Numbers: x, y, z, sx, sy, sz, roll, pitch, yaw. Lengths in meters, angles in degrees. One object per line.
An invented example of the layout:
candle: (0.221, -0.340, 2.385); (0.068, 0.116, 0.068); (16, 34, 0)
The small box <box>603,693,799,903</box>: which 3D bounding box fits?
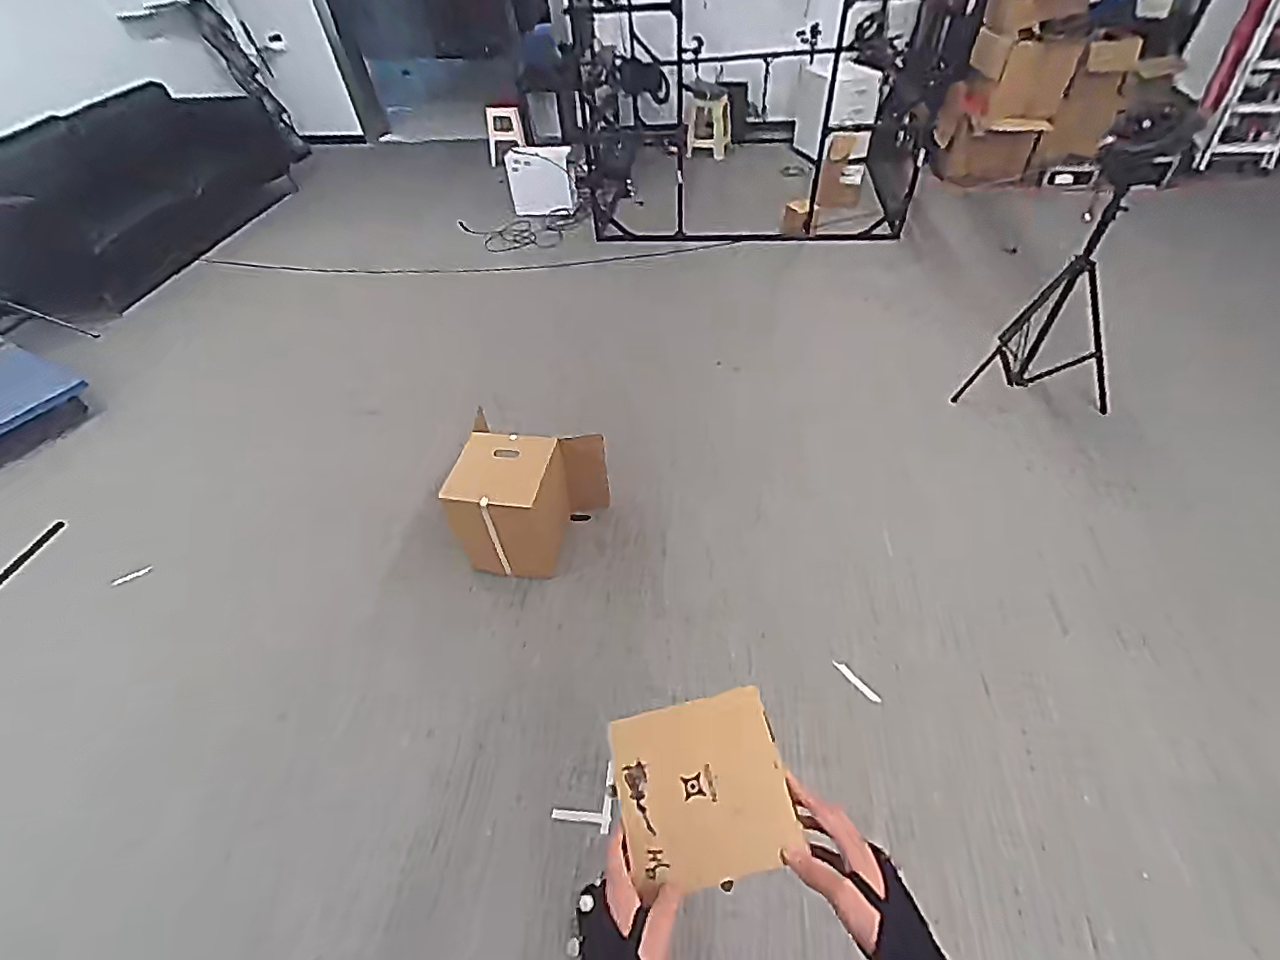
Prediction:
small box: (0.066, 0.369, 0.639); (0.179, 0.176, 0.168); (-14, 57, -1)
